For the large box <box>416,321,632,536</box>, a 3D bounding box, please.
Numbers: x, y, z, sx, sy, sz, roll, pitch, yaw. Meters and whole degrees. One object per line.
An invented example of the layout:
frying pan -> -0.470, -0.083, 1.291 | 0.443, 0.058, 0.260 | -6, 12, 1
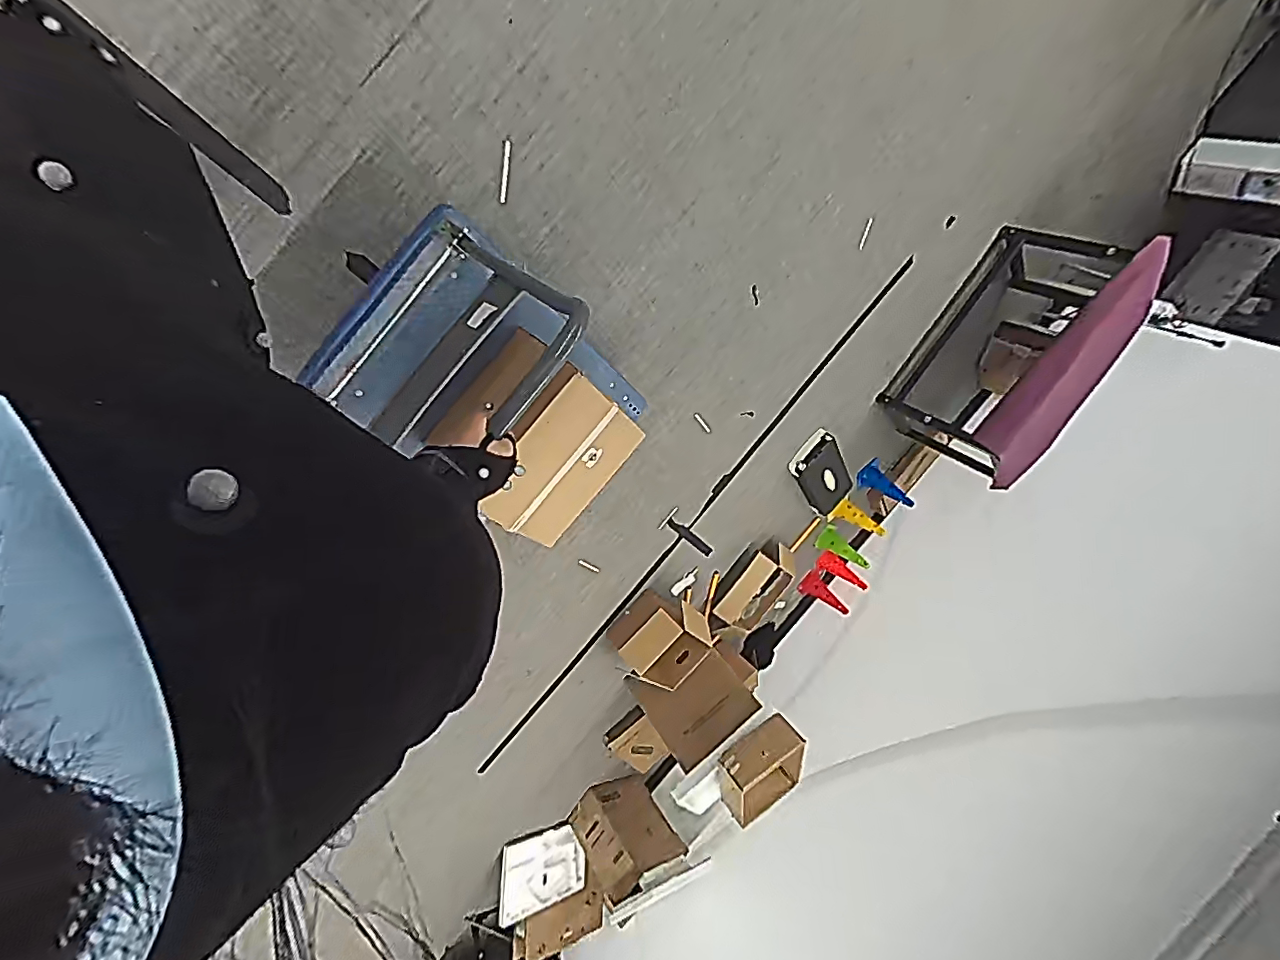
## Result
large box -> -0.306, -0.133, 1.423 | 0.408, 0.320, 0.320 | -50, 141, 0
